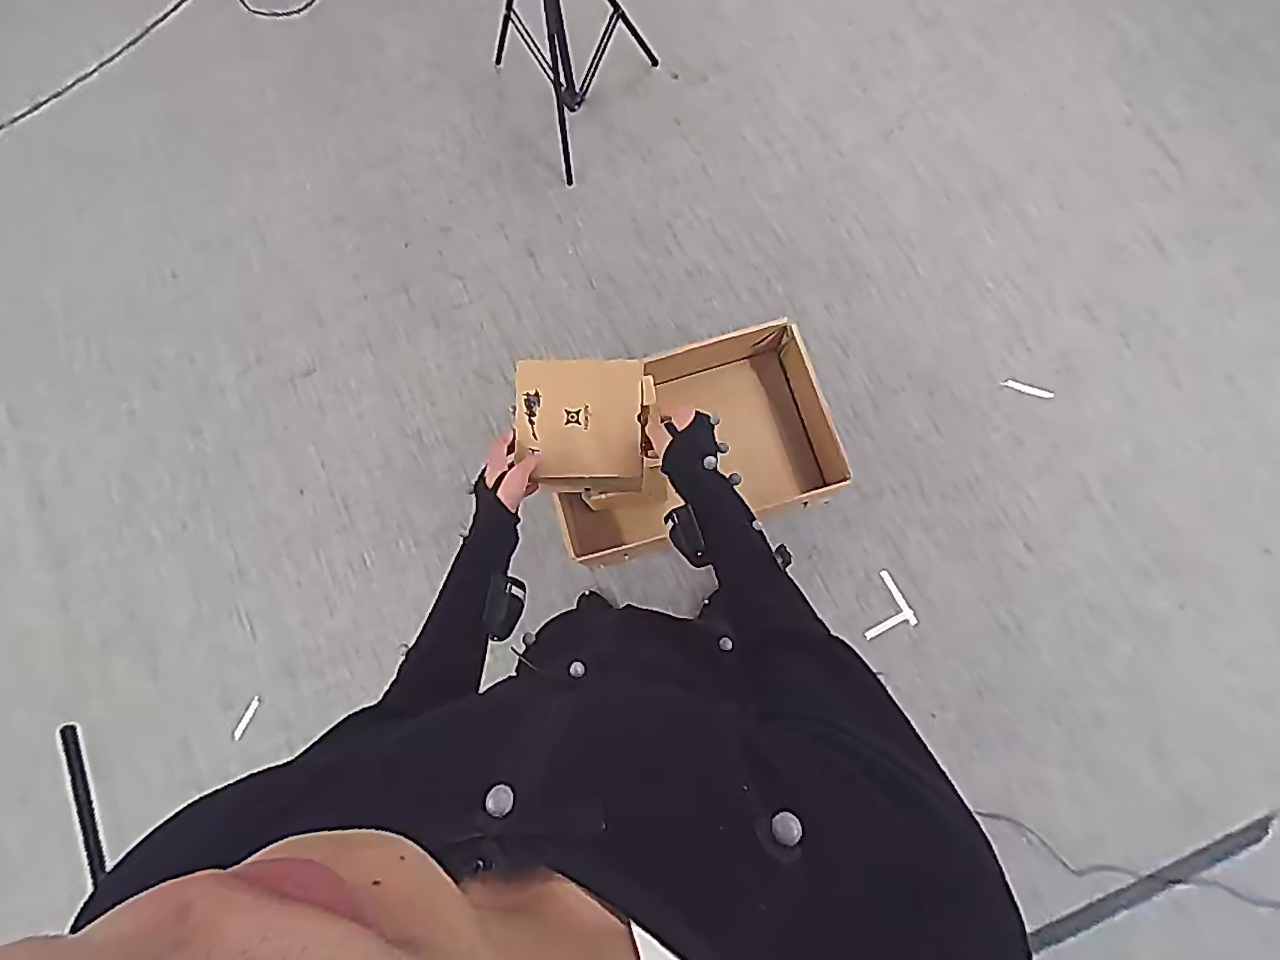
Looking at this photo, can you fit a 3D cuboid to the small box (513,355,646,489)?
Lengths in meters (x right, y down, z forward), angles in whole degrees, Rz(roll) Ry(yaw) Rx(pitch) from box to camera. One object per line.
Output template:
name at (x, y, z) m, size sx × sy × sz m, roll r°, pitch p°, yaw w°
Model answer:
small box at (-0.083, -0.079, 0.811) m, size 0.179 × 0.176 × 0.168 m, roll 1°, pitch 82°, yaw 0°

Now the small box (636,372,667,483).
small box at (-0.040, -0.086, 1.049) m, size 0.168 × 0.176 × 0.179 m, roll -9°, pitch 77°, yaw 1°
